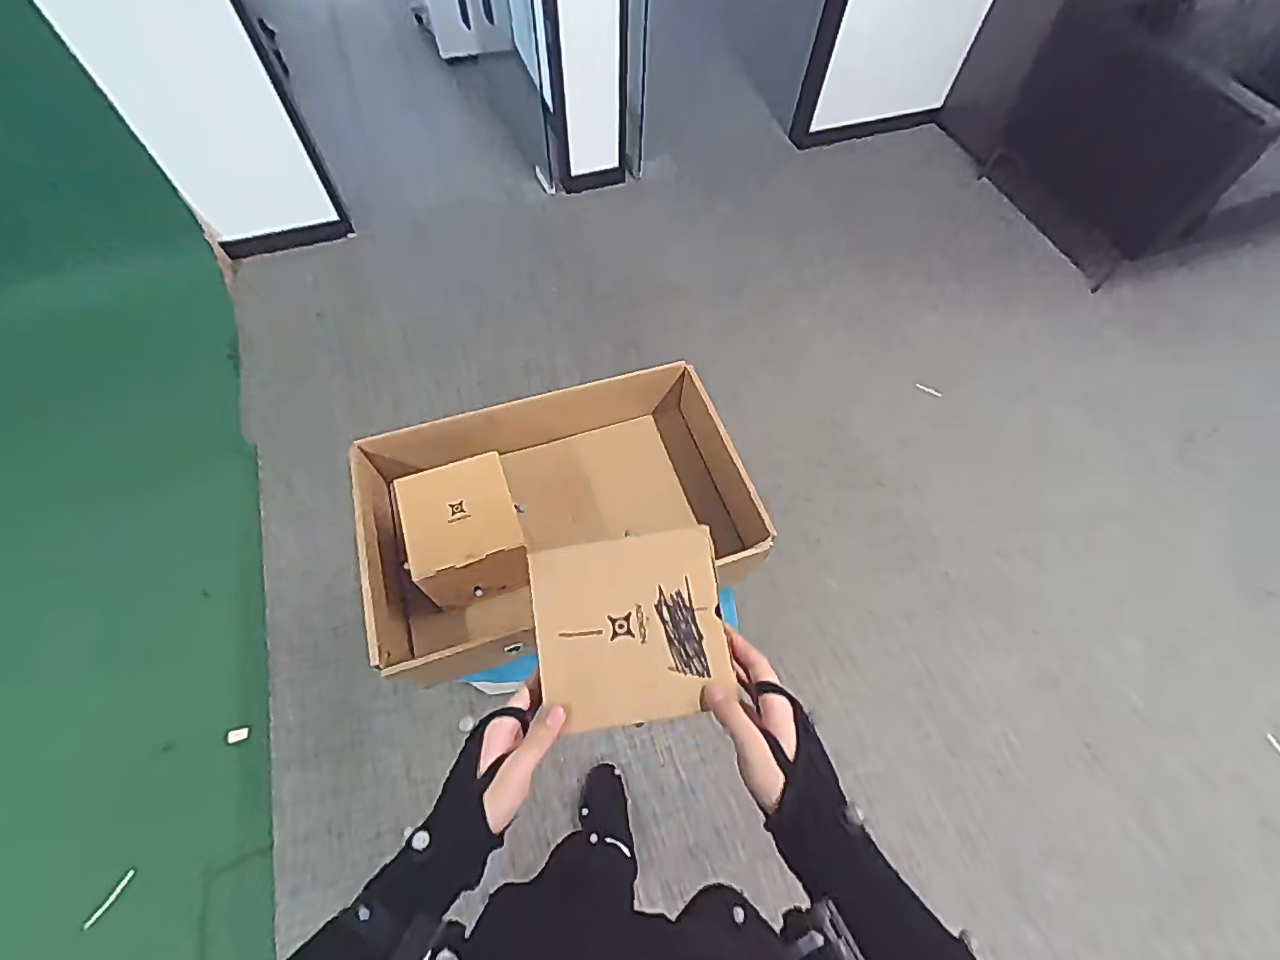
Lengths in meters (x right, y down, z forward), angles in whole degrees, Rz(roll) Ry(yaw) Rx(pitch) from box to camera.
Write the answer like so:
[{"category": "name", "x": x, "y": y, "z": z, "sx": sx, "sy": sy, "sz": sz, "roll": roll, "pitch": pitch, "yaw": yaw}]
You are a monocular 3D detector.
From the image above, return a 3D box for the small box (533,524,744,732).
[{"category": "small box", "x": -0.004, "y": 0.150, "z": 0.571, "sx": 0.179, "sy": 0.176, "sz": 0.168, "roll": -9, "pitch": 75, "yaw": -1}]

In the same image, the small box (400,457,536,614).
[{"category": "small box", "x": -0.273, "y": 0.095, "z": 0.887, "sx": 0.168, "sy": 0.176, "sz": 0.179, "roll": -17, "pitch": 63, "yaw": -13}]
